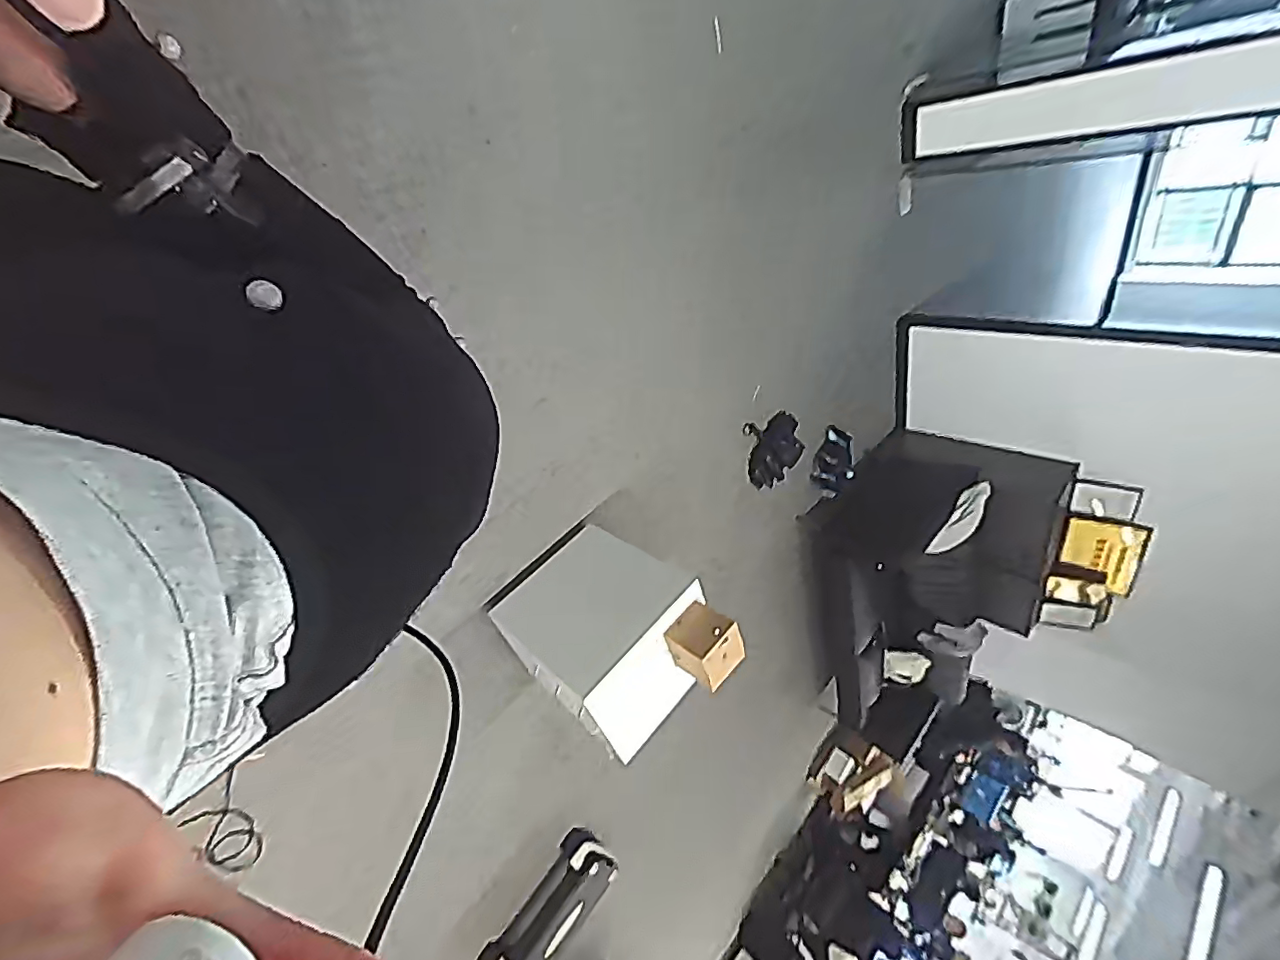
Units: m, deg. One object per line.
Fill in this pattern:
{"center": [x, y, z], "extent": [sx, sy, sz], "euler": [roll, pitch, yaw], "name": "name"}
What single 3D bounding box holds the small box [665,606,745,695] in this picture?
{"center": [0.204, 0.529, 1.700], "extent": [0.168, 0.176, 0.179], "euler": [-40, 131, -26], "name": "small box"}
